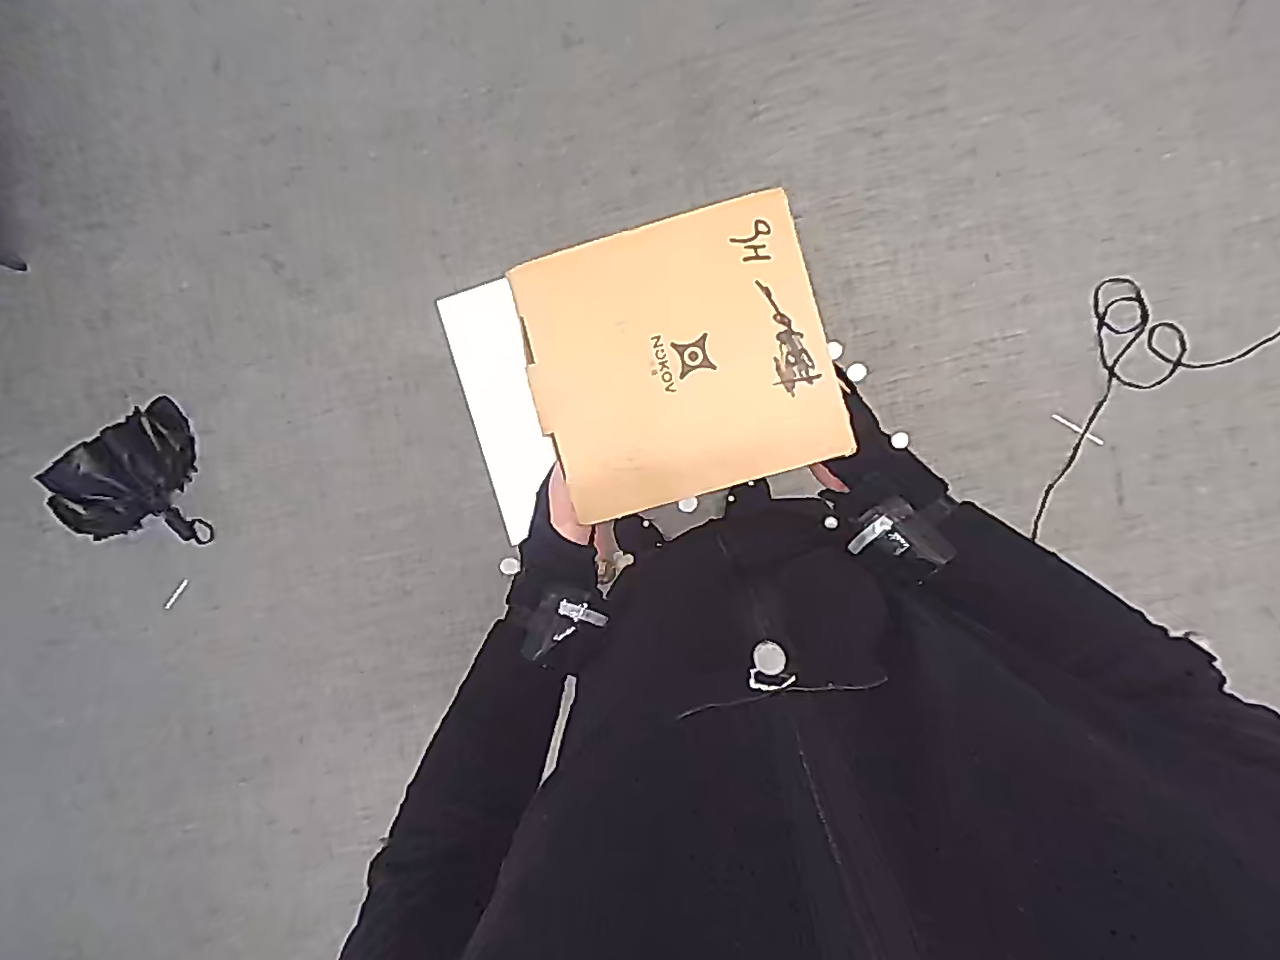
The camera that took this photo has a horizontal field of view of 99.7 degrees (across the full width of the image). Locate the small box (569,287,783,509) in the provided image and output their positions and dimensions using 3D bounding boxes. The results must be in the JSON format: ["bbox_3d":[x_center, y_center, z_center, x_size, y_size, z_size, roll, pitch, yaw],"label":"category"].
[{"bbox_3d":[0.035,-0.074,0.574,0.168,0.176,0.179,-15,90,3],"label":"small box"}]
